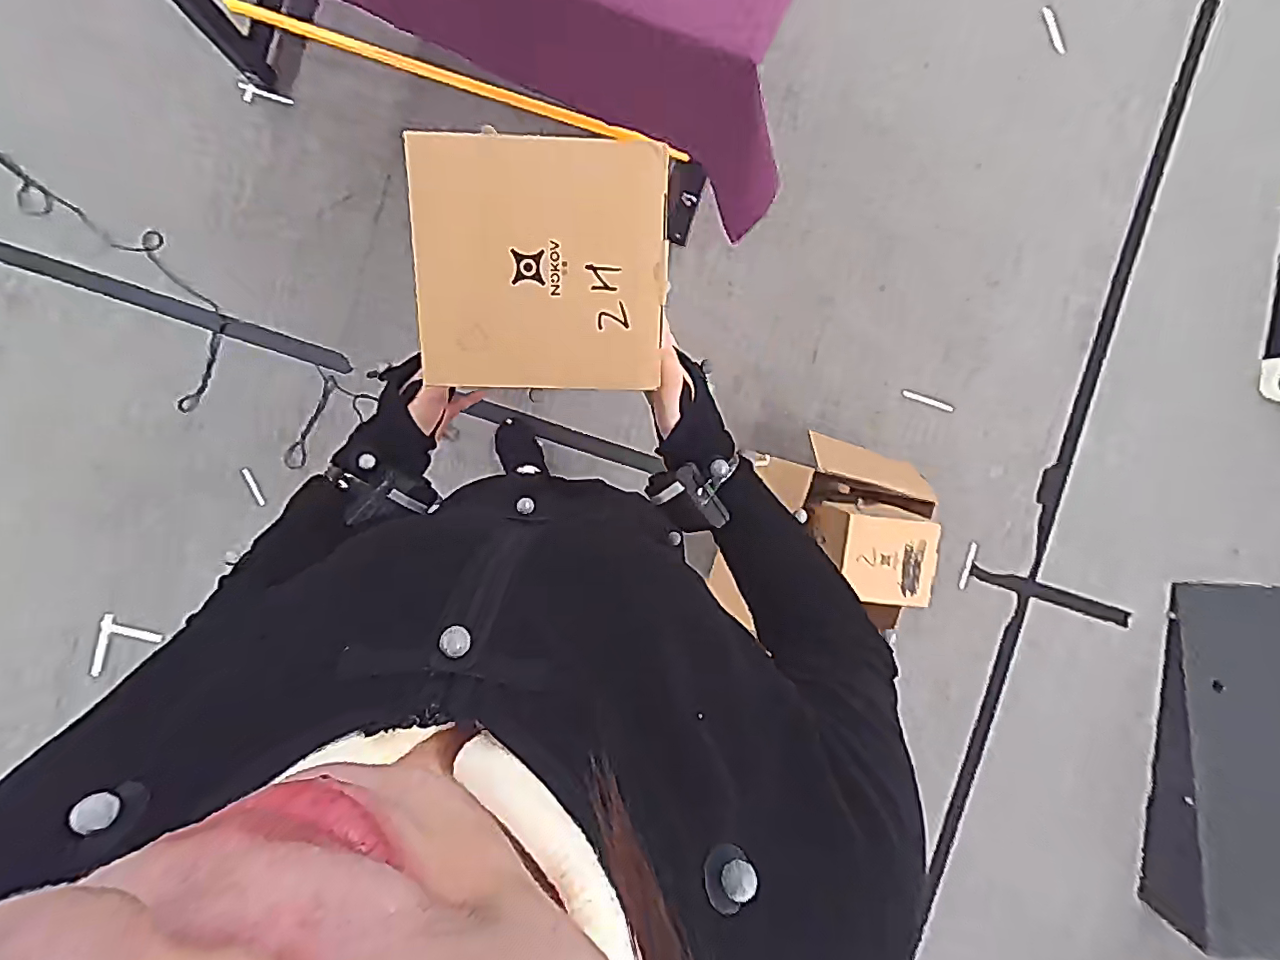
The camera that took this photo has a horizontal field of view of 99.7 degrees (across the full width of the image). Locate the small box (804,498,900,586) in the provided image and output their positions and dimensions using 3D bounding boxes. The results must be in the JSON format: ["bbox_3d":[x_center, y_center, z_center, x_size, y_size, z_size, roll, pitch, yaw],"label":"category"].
[{"bbox_3d":[0.492,0.138,1.274,0.168,0.176,0.179,-4,96,0],"label":"small box"}]

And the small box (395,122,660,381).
[{"bbox_3d":[-0.079,-0.173,0.452,0.179,0.176,0.168,0,105,-4],"label":"small box"}]
